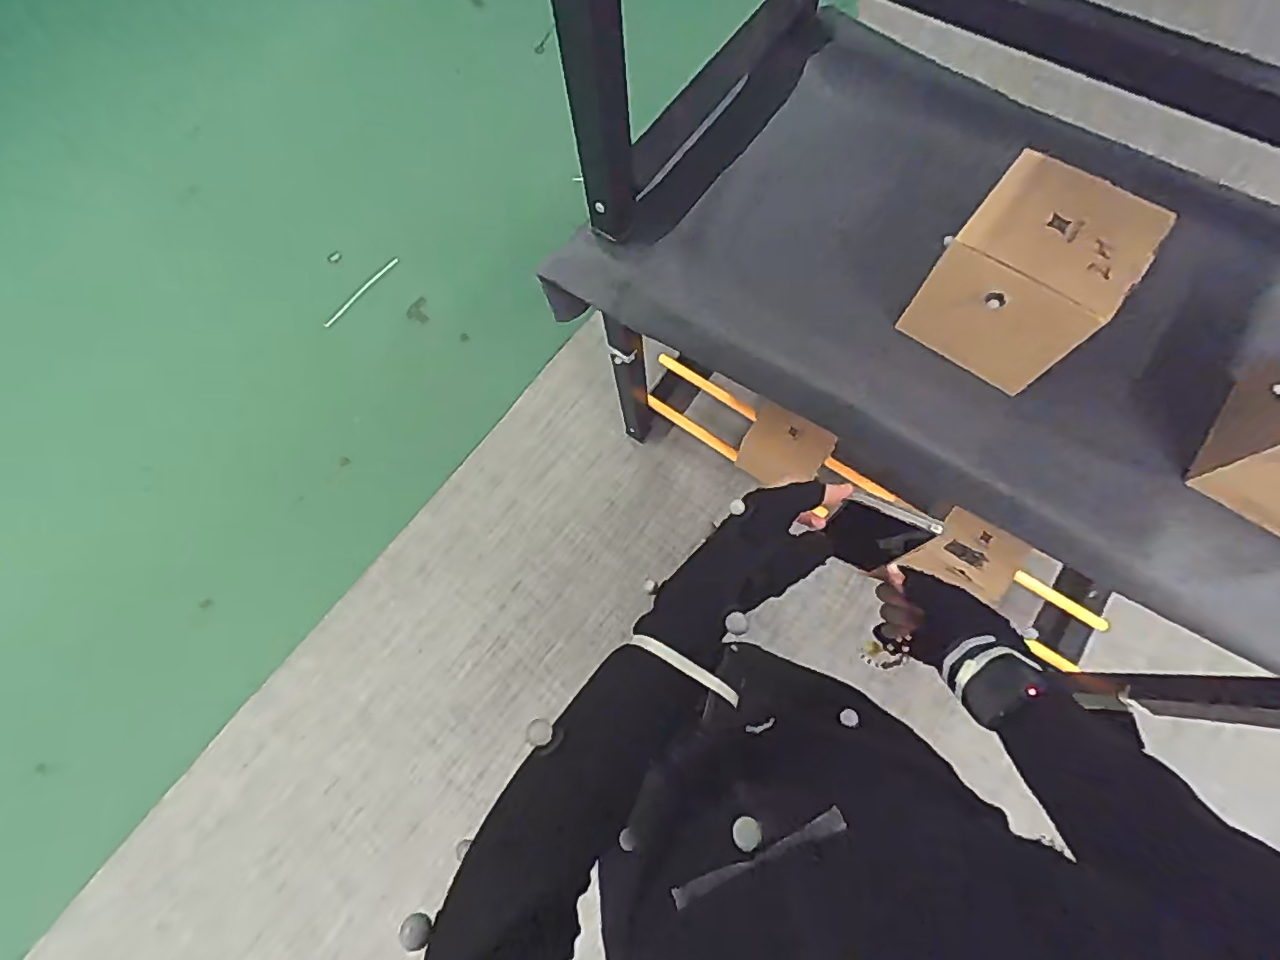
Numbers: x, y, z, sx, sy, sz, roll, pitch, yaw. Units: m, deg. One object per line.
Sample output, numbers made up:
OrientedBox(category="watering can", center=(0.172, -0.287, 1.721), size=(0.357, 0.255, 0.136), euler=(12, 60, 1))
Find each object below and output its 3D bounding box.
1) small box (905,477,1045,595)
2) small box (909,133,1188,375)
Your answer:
OrientedBox(category="small box", center=(0.703, 0.128, 1.163), size=(0.168, 0.176, 0.179), euler=(38, 78, 14))
OrientedBox(category="small box", center=(0.463, -0.257, 0.646), size=(0.179, 0.176, 0.168), euler=(37, 78, 14))
